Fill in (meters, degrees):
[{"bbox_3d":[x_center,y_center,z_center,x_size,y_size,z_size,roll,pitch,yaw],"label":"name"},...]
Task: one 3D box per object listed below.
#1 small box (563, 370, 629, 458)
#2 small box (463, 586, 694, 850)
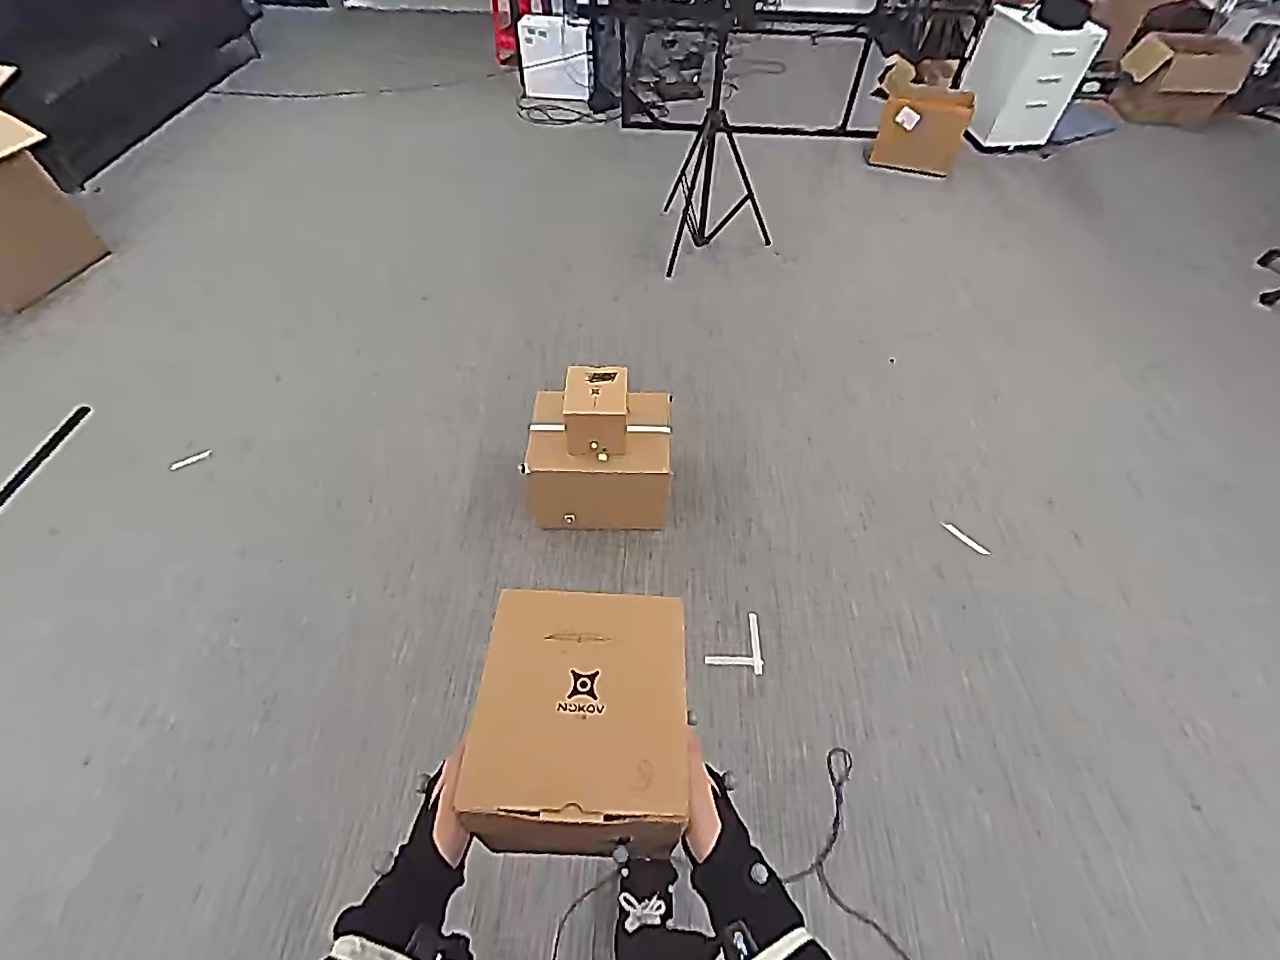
[{"bbox_3d":[-0.116,-0.182,1.493,0.168,0.176,0.179,1,55,0],"label":"small box"},{"bbox_3d":[-0.044,0.217,0.487,0.168,0.176,0.179,3,47,-2],"label":"small box"}]
